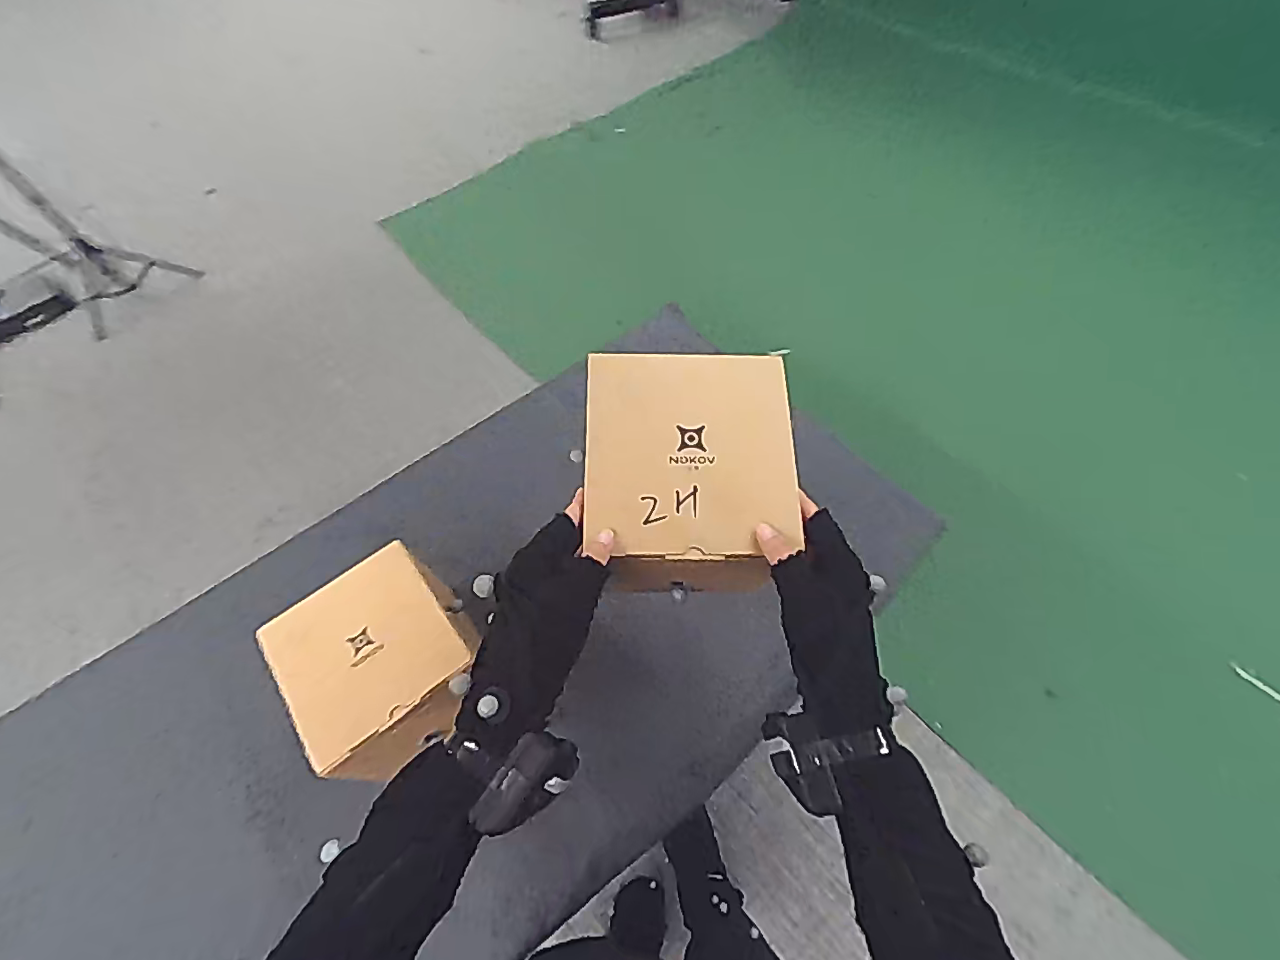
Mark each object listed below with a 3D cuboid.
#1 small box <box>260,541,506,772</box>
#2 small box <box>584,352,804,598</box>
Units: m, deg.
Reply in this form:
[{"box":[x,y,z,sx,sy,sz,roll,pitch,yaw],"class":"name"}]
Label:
[{"box":[-0.282,0.209,0.624,0.168,0.176,0.179,-36,64,-17],"class":"small box"},{"box":[0.040,0.005,0.500,0.168,0.176,0.179,2,69,-1],"class":"small box"}]
